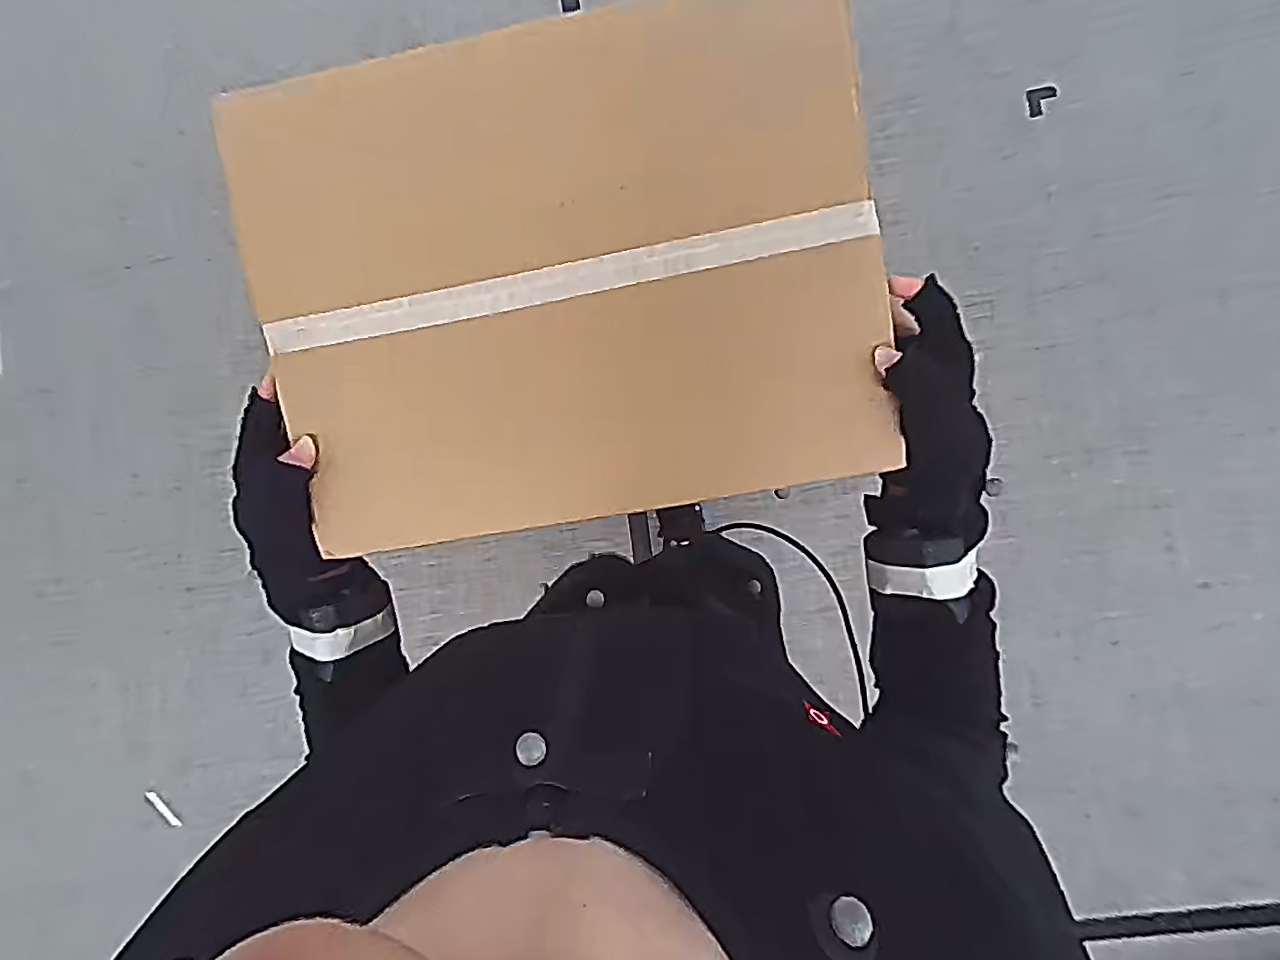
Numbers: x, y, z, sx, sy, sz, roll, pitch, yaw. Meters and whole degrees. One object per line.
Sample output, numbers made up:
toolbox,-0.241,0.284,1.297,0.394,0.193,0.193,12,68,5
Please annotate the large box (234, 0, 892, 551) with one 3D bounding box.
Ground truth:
large box,-0.041,-0.151,0.507,0.408,0.320,0.320,-10,96,5
